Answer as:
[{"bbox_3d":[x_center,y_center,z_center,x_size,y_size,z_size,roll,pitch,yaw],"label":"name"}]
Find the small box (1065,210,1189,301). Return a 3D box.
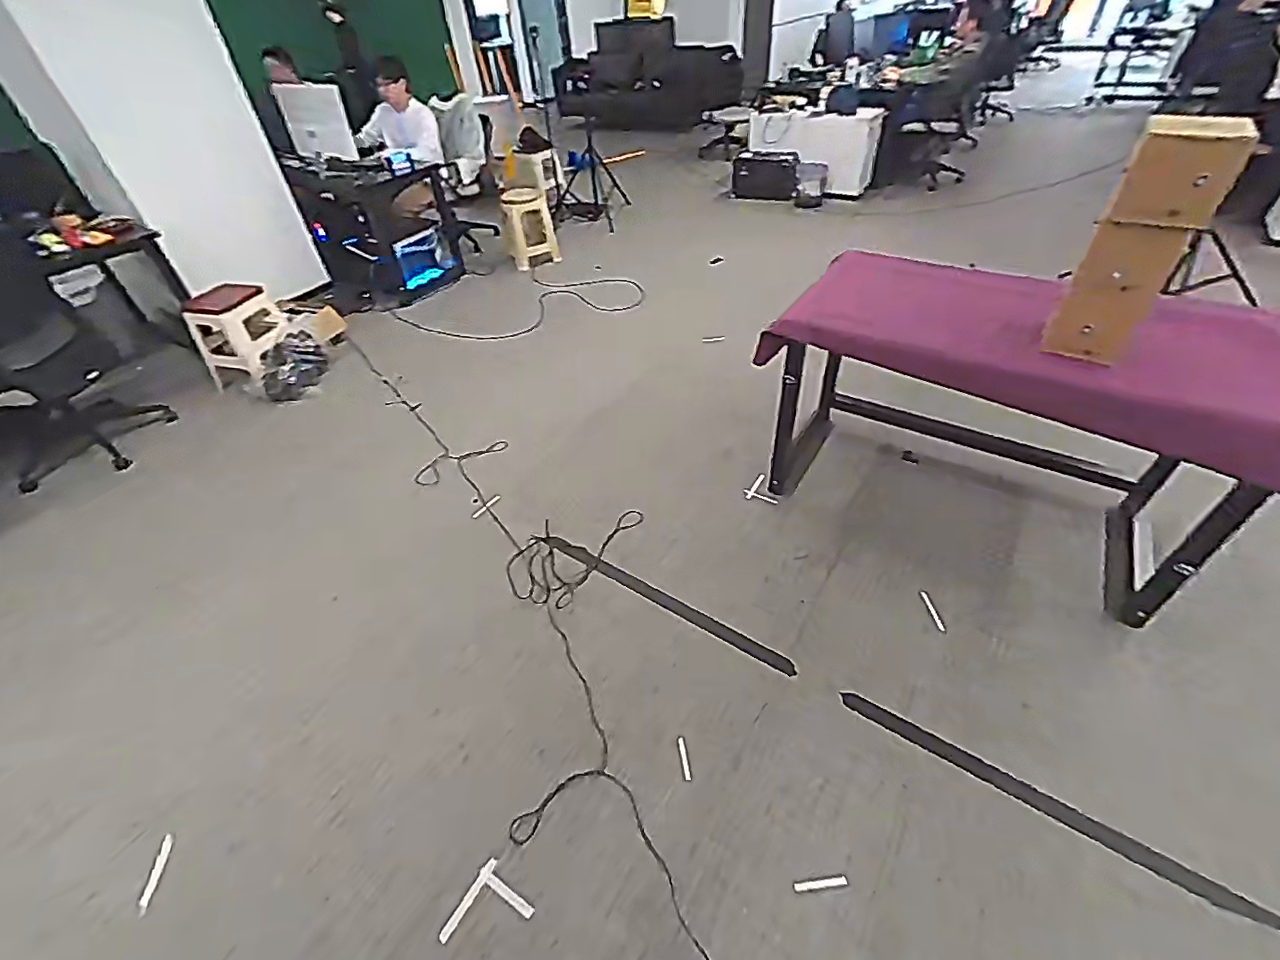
[{"bbox_3d":[1.137,-0.543,1.268,0.168,0.176,0.179,24,50,28],"label":"small box"}]

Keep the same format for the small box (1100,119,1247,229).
[{"bbox_3d":[1.116,-0.648,1.145,0.168,0.176,0.179,22,48,26],"label":"small box"}]

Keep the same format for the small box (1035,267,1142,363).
[{"bbox_3d":[1.143,-0.421,1.378,0.168,0.176,0.179,25,50,28],"label":"small box"}]
